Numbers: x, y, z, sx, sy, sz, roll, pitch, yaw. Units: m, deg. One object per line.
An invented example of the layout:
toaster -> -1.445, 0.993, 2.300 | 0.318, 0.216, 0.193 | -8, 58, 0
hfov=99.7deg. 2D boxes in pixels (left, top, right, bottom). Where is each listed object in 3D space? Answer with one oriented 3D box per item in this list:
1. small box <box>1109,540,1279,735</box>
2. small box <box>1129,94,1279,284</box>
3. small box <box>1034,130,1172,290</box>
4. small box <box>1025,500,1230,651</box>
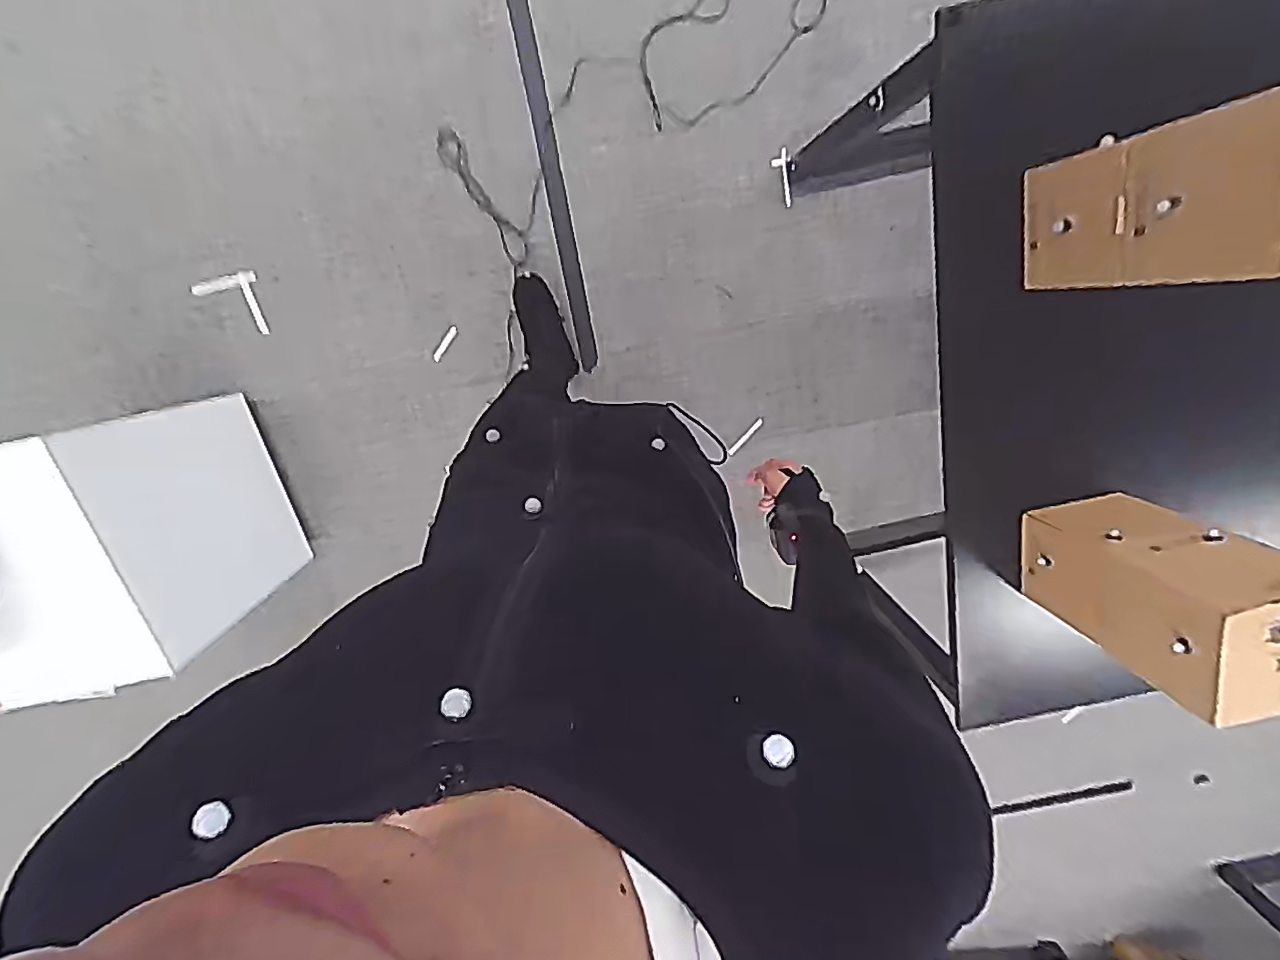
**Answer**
small box -> 0.775, 0.194, 0.720 | 0.168, 0.176, 0.179 | -15, 108, 2
small box -> 0.671, -0.307, 0.559 | 0.179, 0.176, 0.168 | -13, 107, 1
small box -> 0.661, -0.355, 0.716 | 0.179, 0.176, 0.168 | -13, 108, 2
small box -> 0.773, 0.144, 0.877 | 0.179, 0.176, 0.168 | -12, 107, 1
